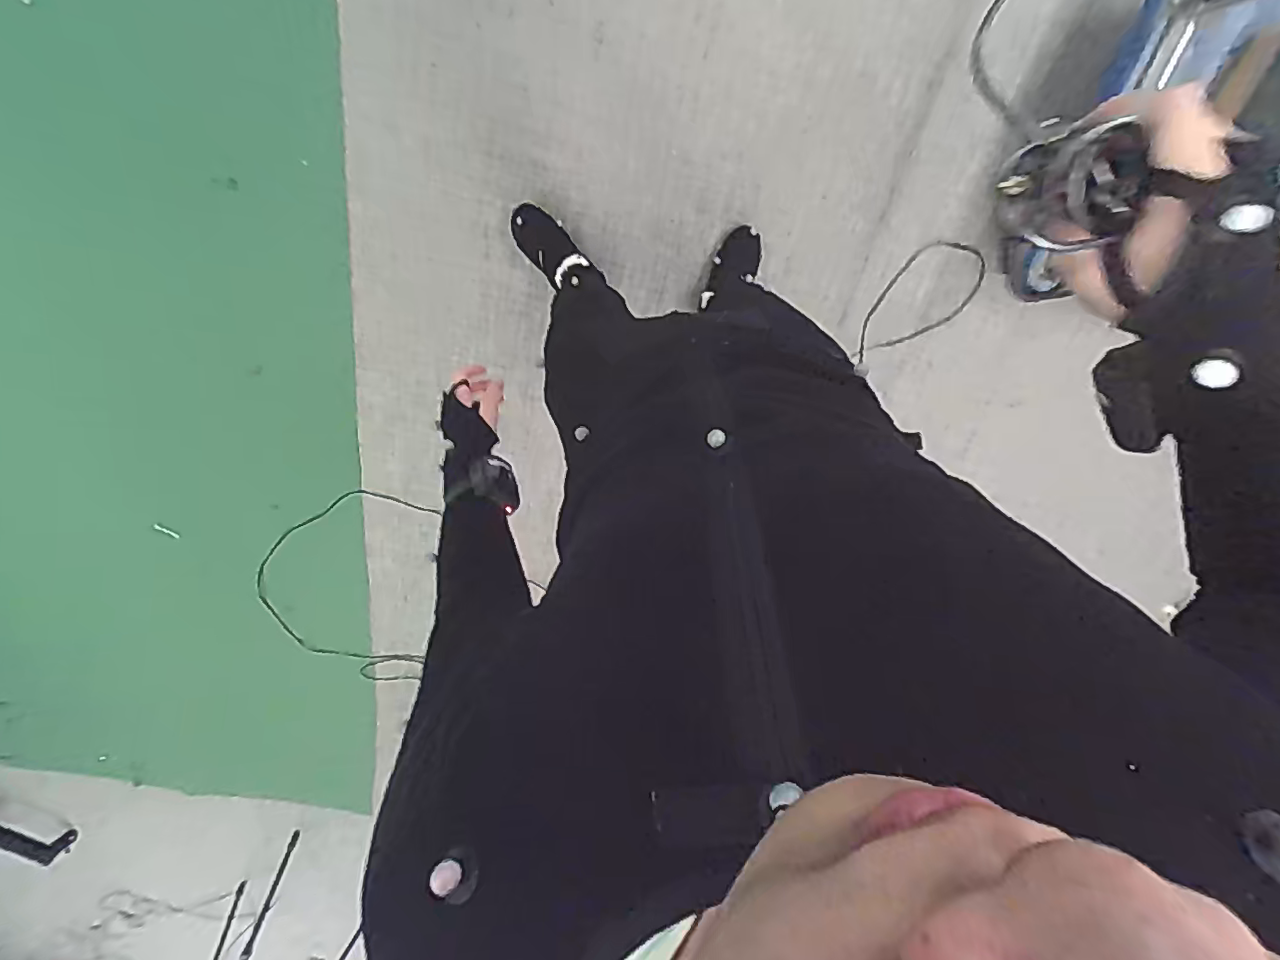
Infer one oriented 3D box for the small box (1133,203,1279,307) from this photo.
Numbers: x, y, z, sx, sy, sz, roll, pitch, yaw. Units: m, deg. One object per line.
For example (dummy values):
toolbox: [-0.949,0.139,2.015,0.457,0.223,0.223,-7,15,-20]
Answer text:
small box: [1.229,-0.482,1.147,0.179,0.176,0.168,9,120,-3]
